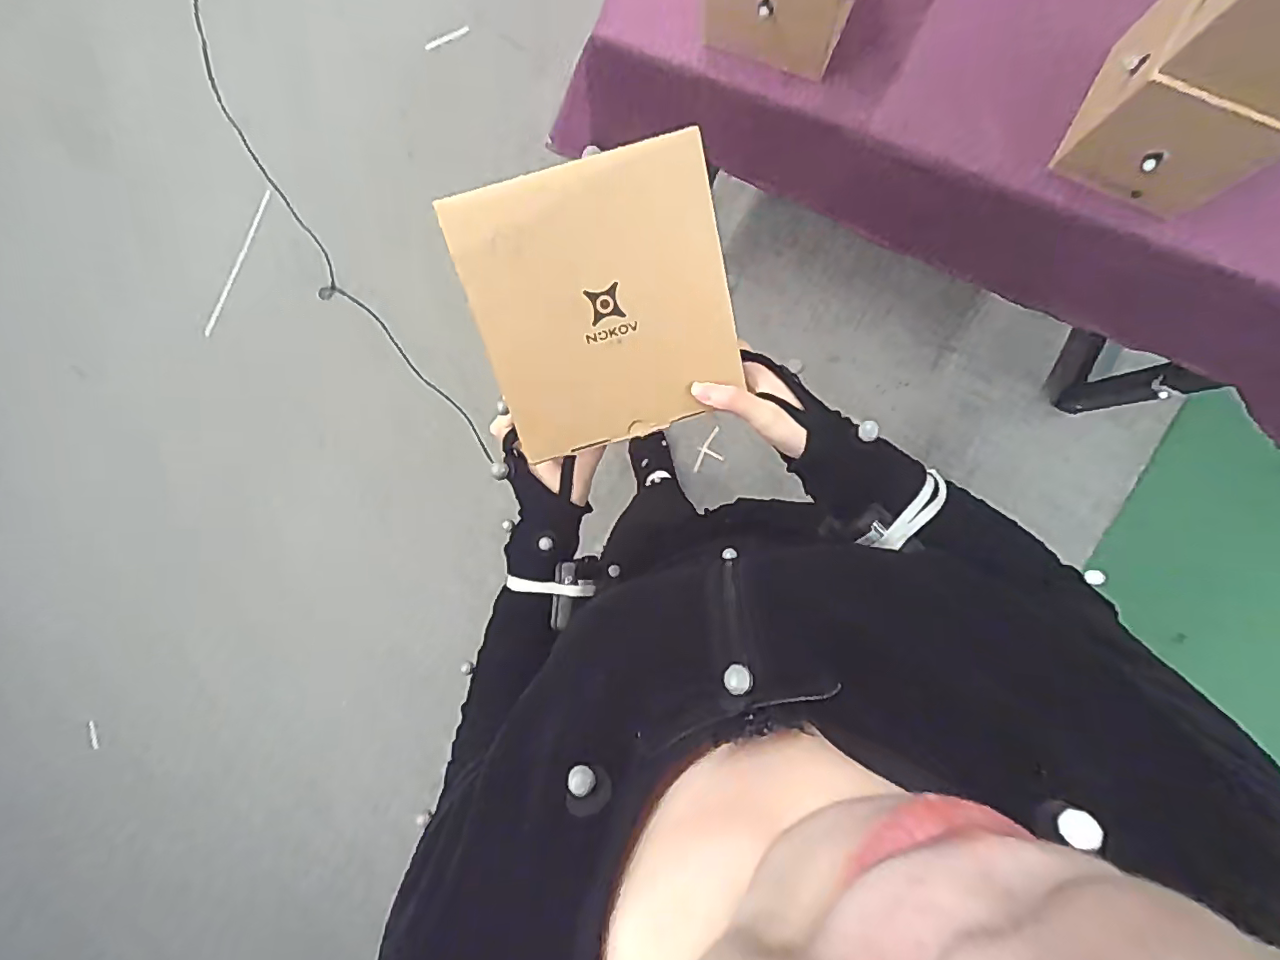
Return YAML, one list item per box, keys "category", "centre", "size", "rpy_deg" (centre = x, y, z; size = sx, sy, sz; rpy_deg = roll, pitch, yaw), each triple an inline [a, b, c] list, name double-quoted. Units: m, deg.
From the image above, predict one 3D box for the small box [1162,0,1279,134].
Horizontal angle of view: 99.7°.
- category: "small box"
  centre: [0.623, -0.437, 0.459]
  size: [0.179, 0.176, 0.168]
  rpy_deg: [28, 93, 5]

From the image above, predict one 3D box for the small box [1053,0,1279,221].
- category: "small box"
  centre: [0.633, -0.439, 0.623]
  size: [0.168, 0.176, 0.179]
  rpy_deg: [28, 93, 5]
